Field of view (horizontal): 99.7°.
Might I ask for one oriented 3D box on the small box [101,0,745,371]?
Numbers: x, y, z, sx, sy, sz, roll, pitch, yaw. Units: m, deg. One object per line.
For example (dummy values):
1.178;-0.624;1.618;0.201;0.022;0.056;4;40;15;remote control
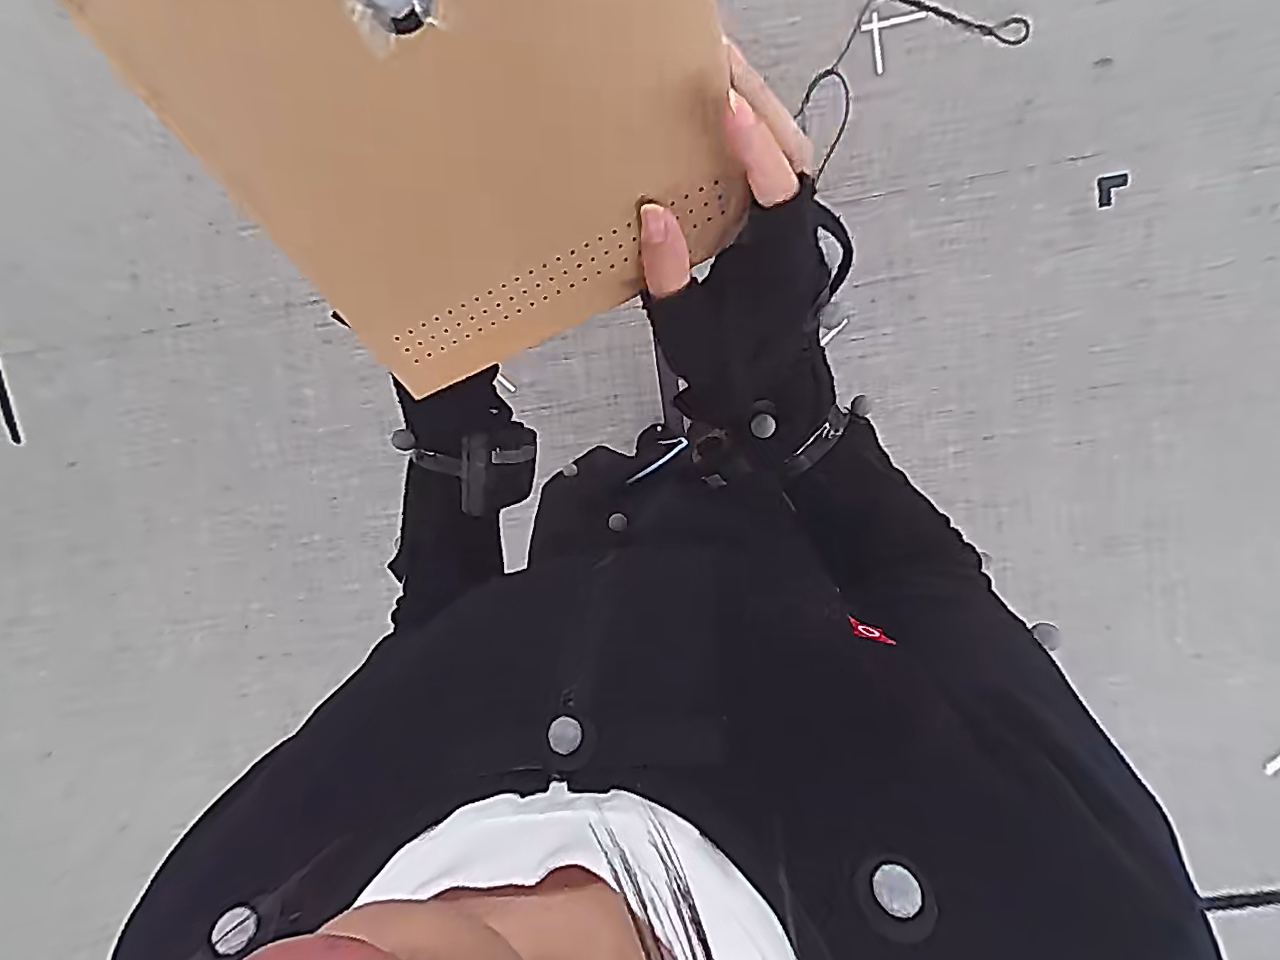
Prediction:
-0.070;-0.183;0.259;0.179;0.168;0.176;-23;138;7;small box
